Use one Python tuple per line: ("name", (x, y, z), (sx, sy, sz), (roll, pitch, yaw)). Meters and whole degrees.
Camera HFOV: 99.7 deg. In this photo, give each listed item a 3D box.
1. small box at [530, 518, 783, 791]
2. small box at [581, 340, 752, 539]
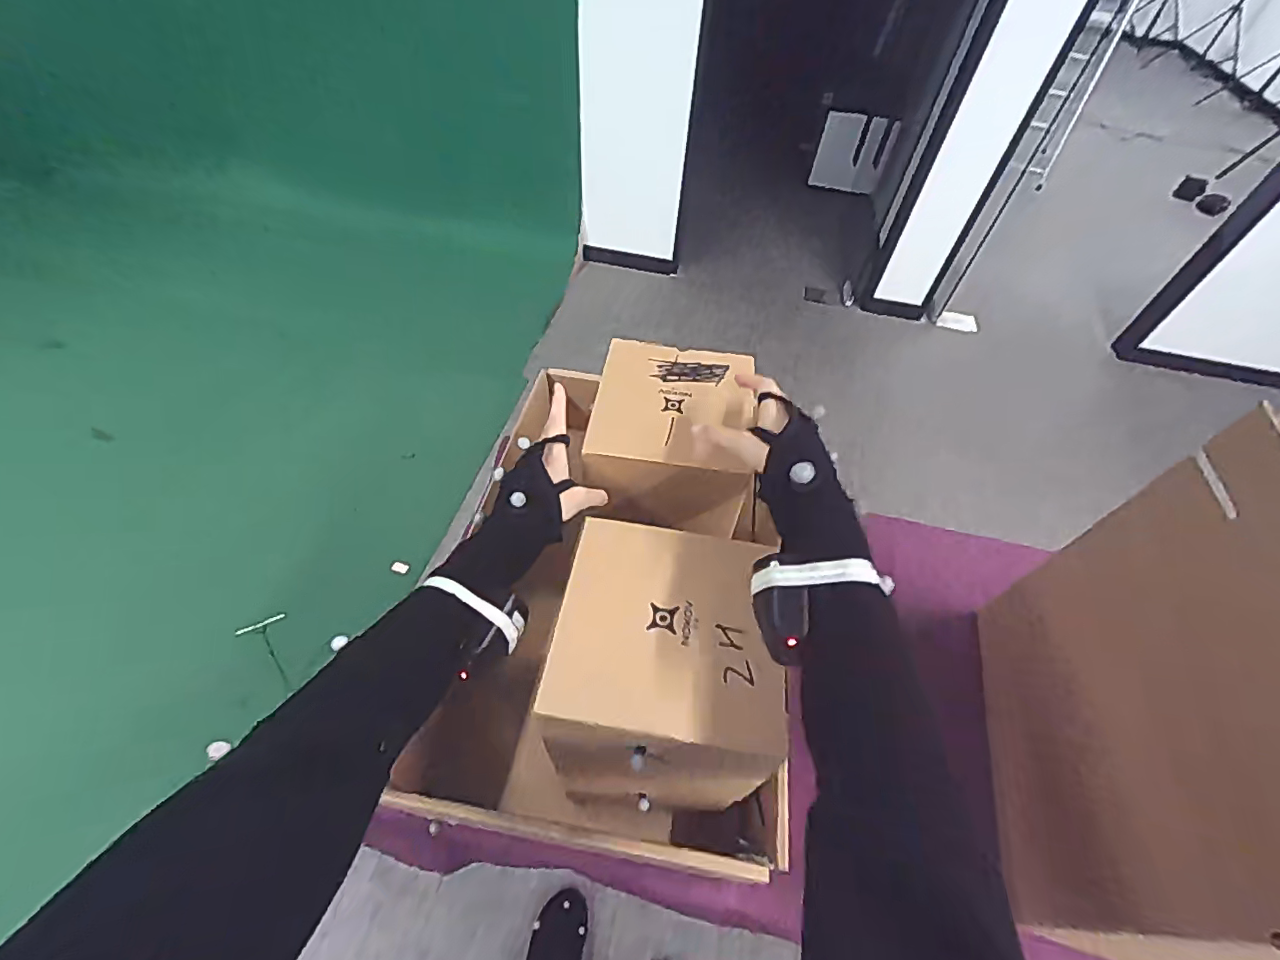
("small box", (0.019, 0.158, 0.477), (0.179, 0.176, 0.168), (9, 52, 4))
("small box", (0.031, -0.034, 0.629), (0.168, 0.176, 0.179), (7, 54, 4))
